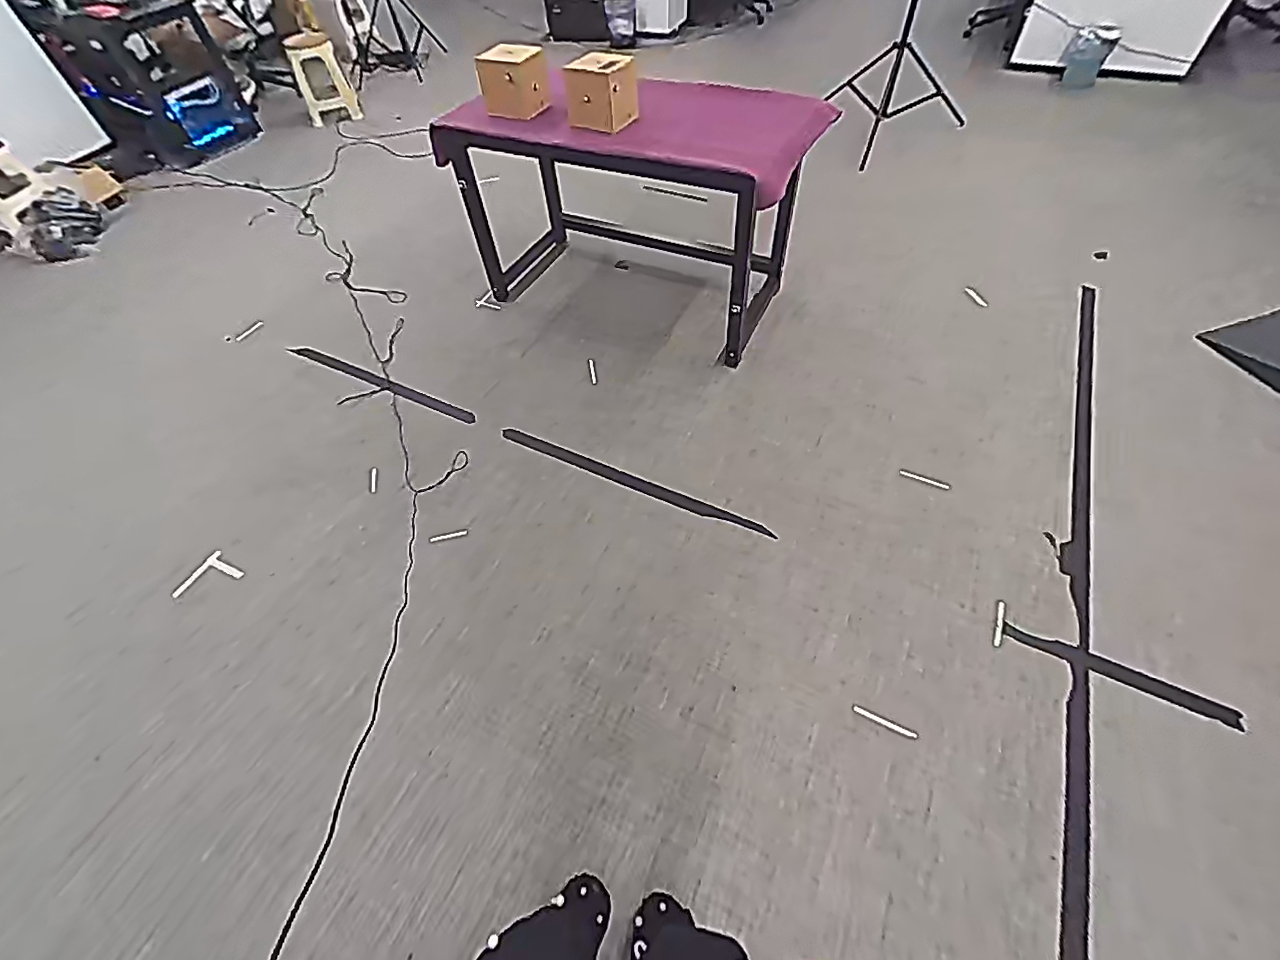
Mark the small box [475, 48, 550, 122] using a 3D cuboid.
[{"bbox_3d":[-0.432,-1.366,1.873,0.179,0.176,0.168,18,55,17],"label":"small box"}]
